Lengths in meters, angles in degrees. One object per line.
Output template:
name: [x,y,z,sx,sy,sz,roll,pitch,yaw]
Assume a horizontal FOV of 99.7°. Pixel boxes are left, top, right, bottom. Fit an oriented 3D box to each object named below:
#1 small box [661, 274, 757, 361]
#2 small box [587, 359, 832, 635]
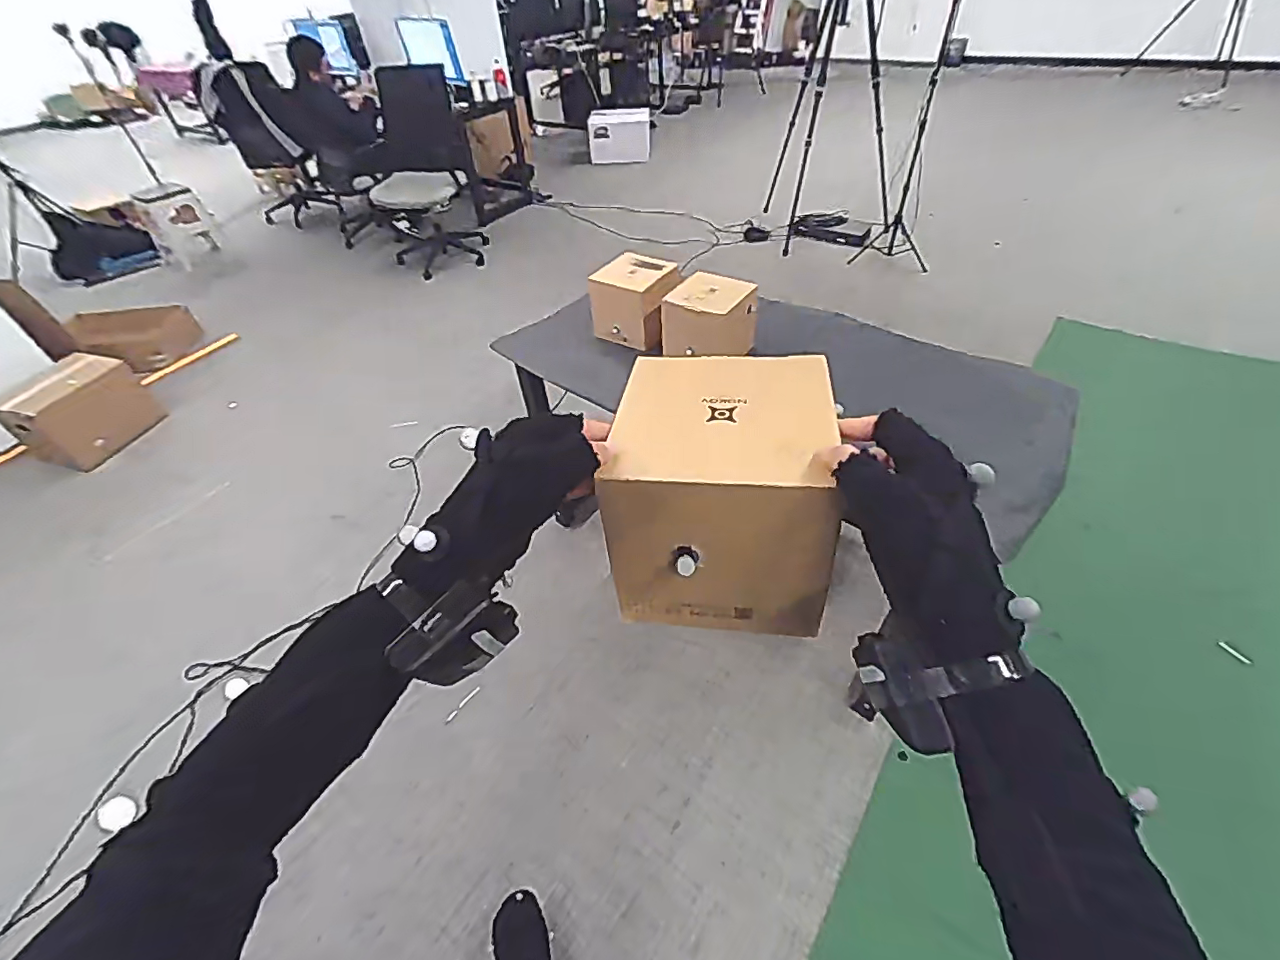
small box: [0.164,-0.372,1.314,0.168,0.176,0.179,24,51,26]
small box: [0.064,0.012,0.465,0.168,0.176,0.179,2,40,10]
